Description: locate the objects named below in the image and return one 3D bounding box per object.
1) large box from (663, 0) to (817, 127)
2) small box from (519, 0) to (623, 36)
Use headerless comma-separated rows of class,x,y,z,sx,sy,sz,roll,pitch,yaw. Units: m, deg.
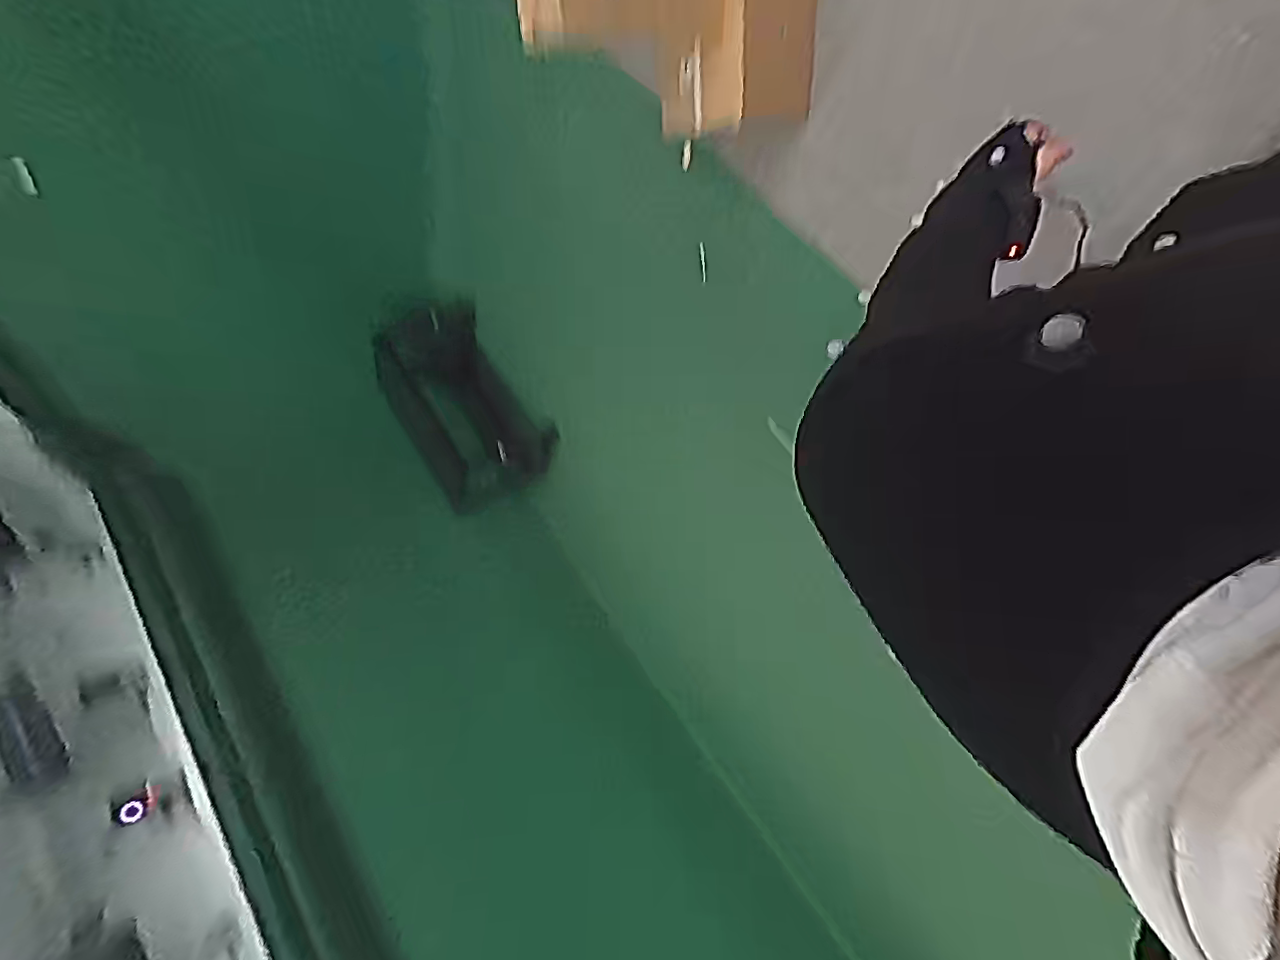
large box,0.278,-1.256,1.516,0.320,0.320,0.408,29,136,44
small box,-0.151,-1.084,1.166,0.168,0.176,0.179,33,137,39
